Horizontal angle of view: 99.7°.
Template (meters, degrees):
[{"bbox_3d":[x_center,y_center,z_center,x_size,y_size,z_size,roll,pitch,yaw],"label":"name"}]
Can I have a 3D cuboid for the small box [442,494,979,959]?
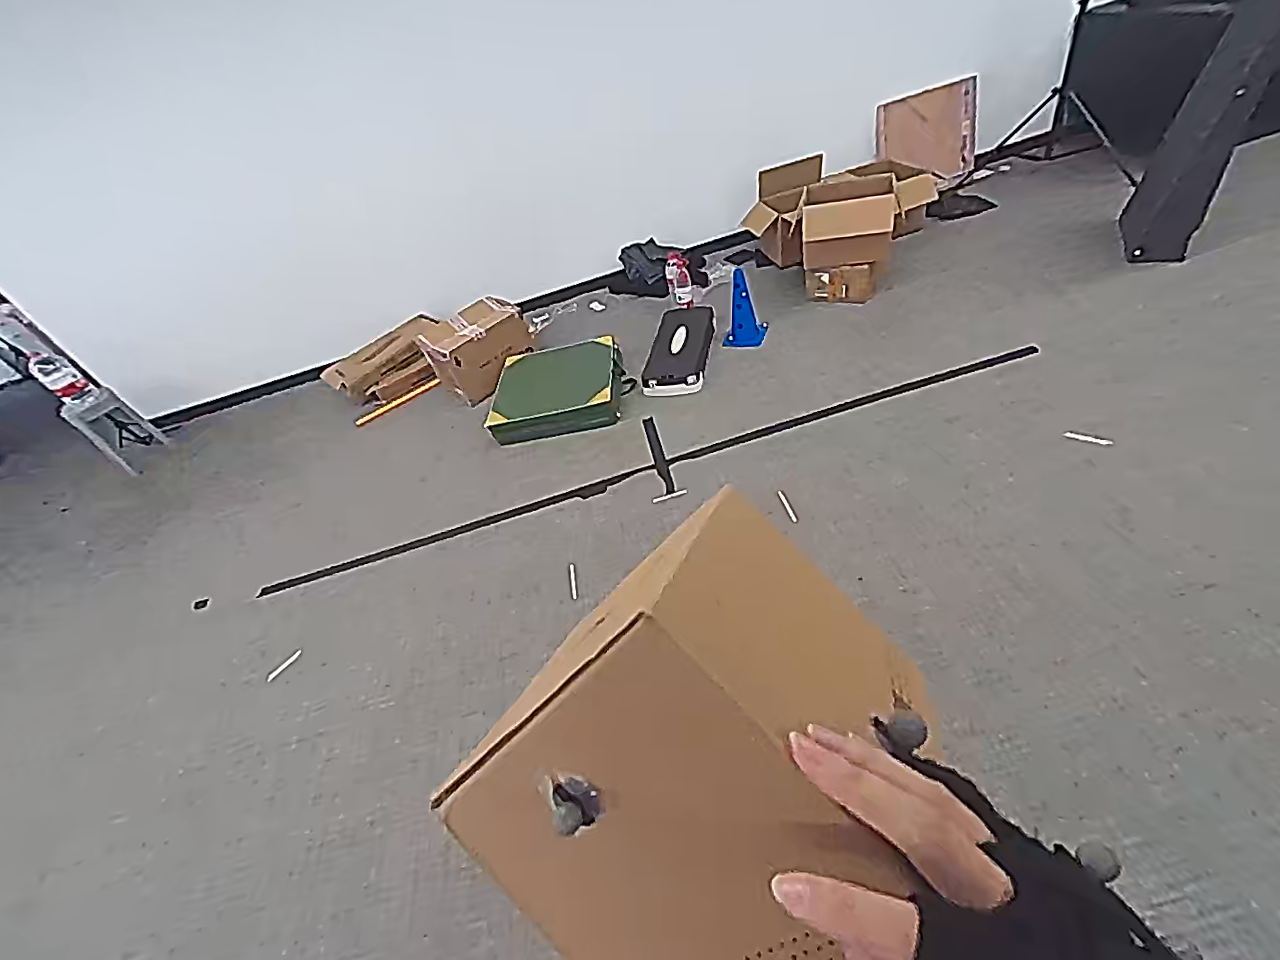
[{"bbox_3d":[0.037,0.143,0.298,0.179,0.176,0.168,-47,-3,25],"label":"small box"}]
